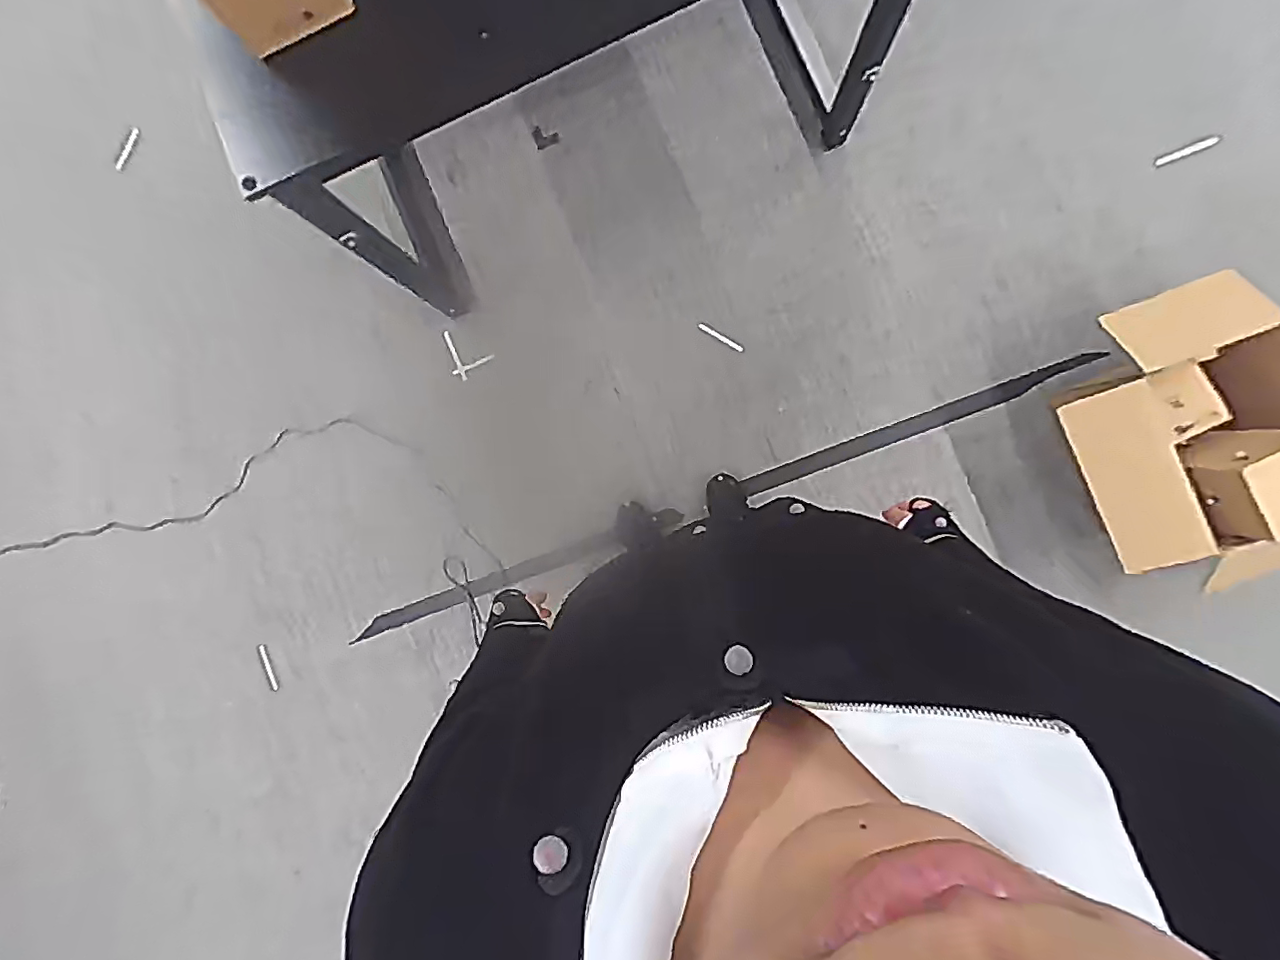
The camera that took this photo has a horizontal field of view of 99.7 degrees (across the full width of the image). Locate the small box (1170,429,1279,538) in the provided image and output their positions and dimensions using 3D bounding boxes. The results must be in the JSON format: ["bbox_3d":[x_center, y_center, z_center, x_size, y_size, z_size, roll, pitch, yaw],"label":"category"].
[{"bbox_3d":[1.290,0.002,1.144,0.179,0.176,0.168,-28,92,5],"label":"small box"}]

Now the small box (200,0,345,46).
[{"bbox_3d":[-0.543,-0.744,0.733,0.168,0.176,0.179,-23,88,3],"label":"small box"}]
